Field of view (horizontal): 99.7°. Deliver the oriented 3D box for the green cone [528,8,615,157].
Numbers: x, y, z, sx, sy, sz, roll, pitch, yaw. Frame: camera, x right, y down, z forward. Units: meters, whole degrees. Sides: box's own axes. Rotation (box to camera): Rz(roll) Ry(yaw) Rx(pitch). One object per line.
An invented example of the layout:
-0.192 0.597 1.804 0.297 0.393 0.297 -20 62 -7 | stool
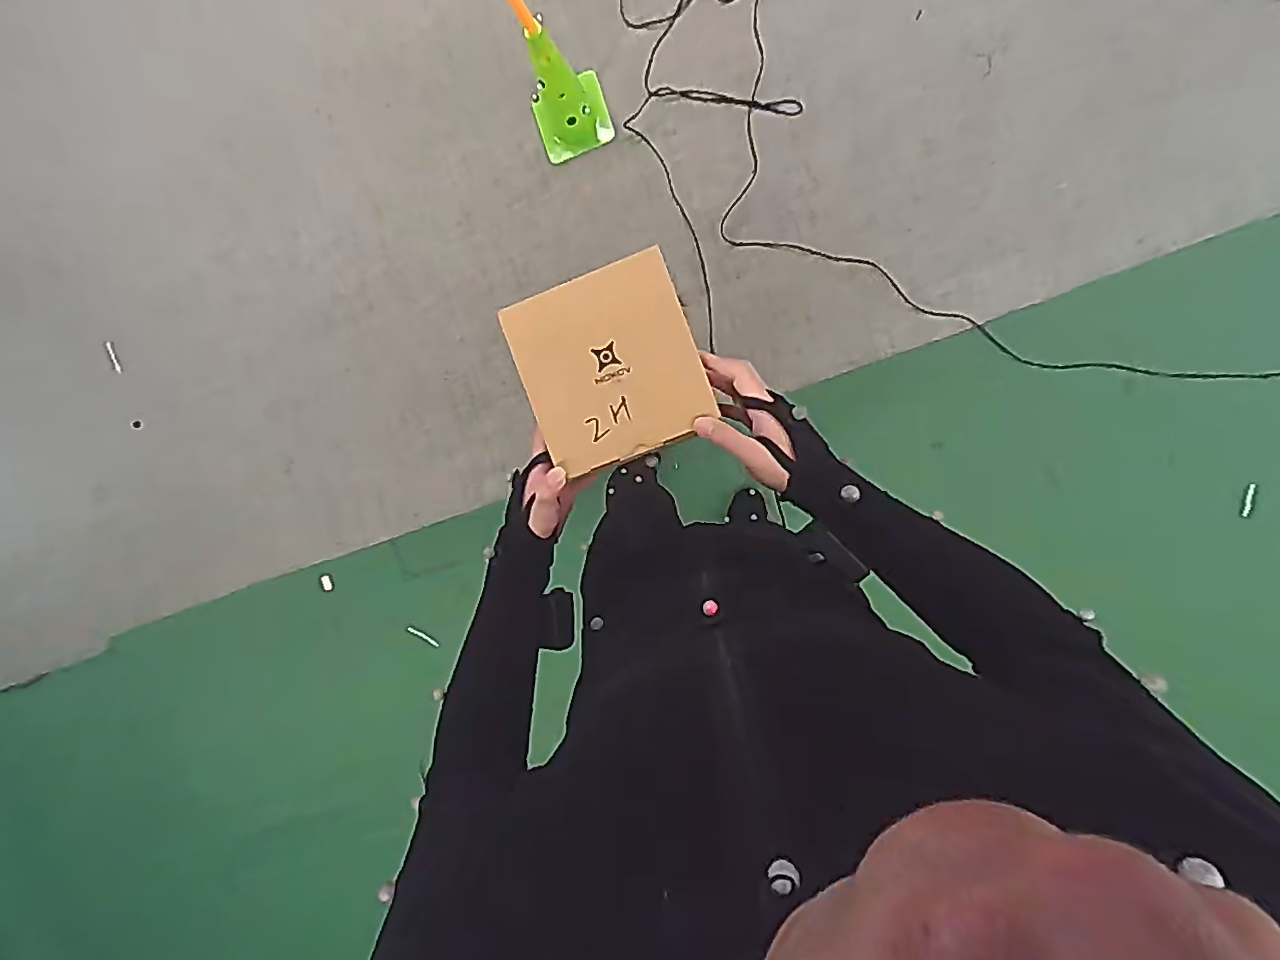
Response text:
-0.206 -1.001 1.329 0.202 0.368 0.200 -18 94 8 | green cone
